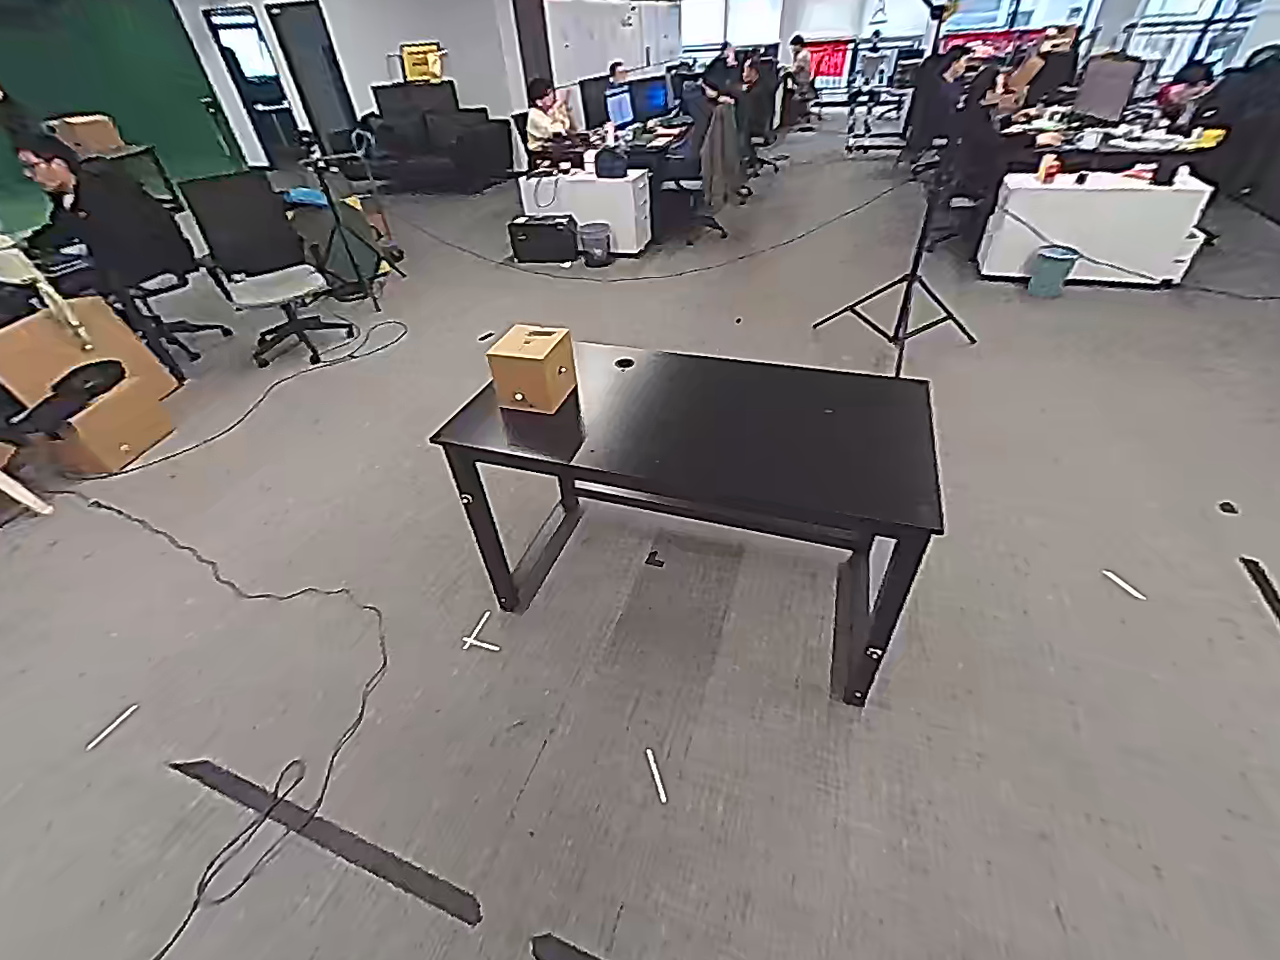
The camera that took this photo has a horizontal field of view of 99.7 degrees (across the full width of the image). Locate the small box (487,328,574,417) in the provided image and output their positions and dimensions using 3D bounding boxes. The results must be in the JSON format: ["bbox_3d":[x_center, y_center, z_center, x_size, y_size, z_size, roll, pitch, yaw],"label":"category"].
[{"bbox_3d":[-0.291,-0.297,1.484,0.168,0.176,0.179,9,42,15],"label":"small box"}]
